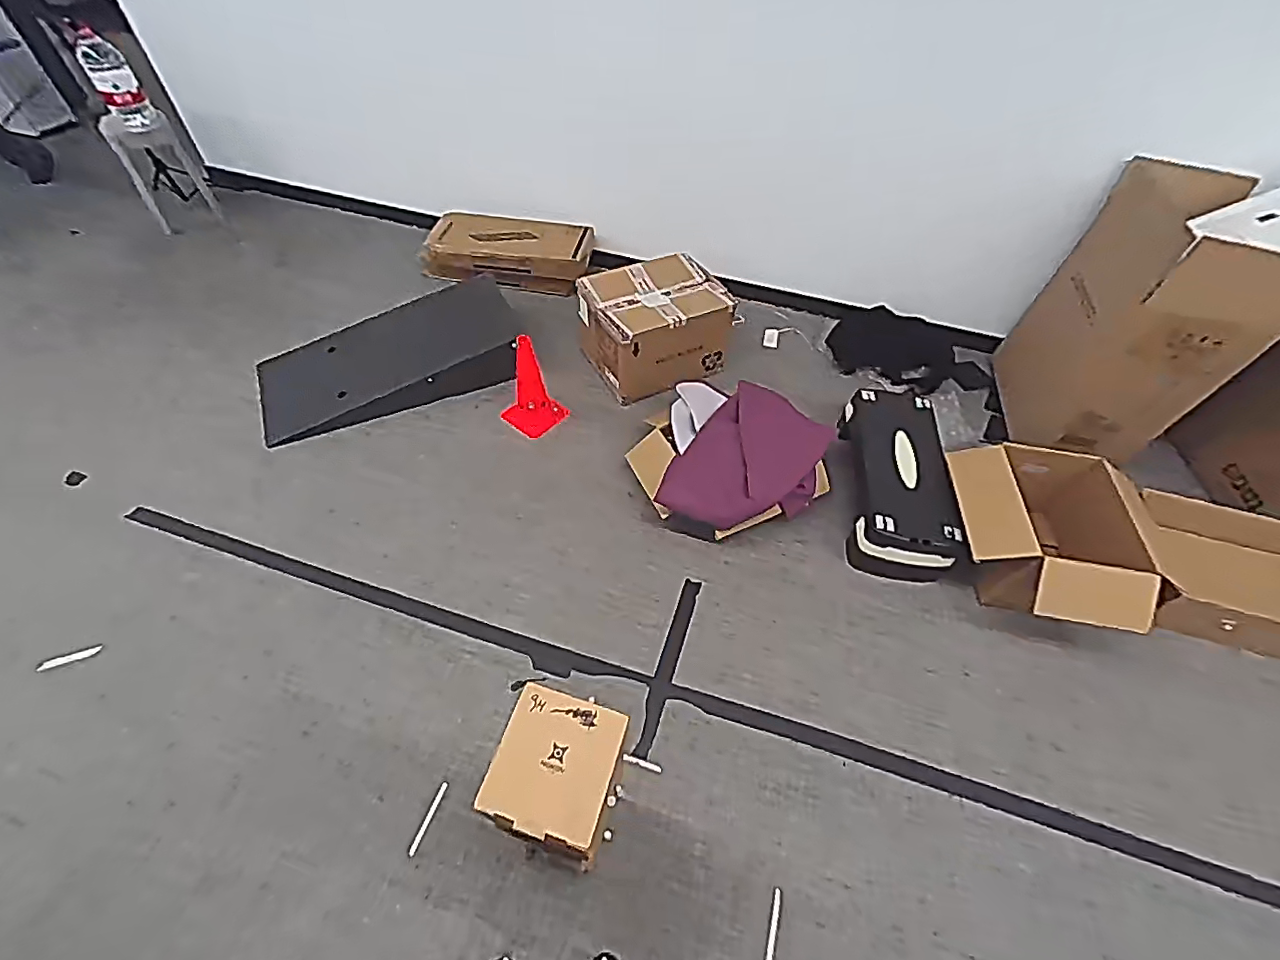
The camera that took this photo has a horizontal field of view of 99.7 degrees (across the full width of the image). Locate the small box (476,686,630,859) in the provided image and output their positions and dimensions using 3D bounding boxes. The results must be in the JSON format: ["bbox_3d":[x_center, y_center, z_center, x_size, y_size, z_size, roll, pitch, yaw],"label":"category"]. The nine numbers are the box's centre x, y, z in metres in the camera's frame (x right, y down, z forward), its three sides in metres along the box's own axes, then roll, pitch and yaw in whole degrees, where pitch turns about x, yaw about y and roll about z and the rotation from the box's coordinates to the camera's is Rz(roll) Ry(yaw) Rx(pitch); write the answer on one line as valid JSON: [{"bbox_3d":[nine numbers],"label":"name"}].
[{"bbox_3d":[-0.117,0.443,0.811,0.168,0.176,0.179,15,53,9],"label":"small box"}]

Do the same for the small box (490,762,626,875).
[{"bbox_3d":[-0.133,0.549,0.936,0.168,0.176,0.179,18,54,12],"label":"small box"}]
